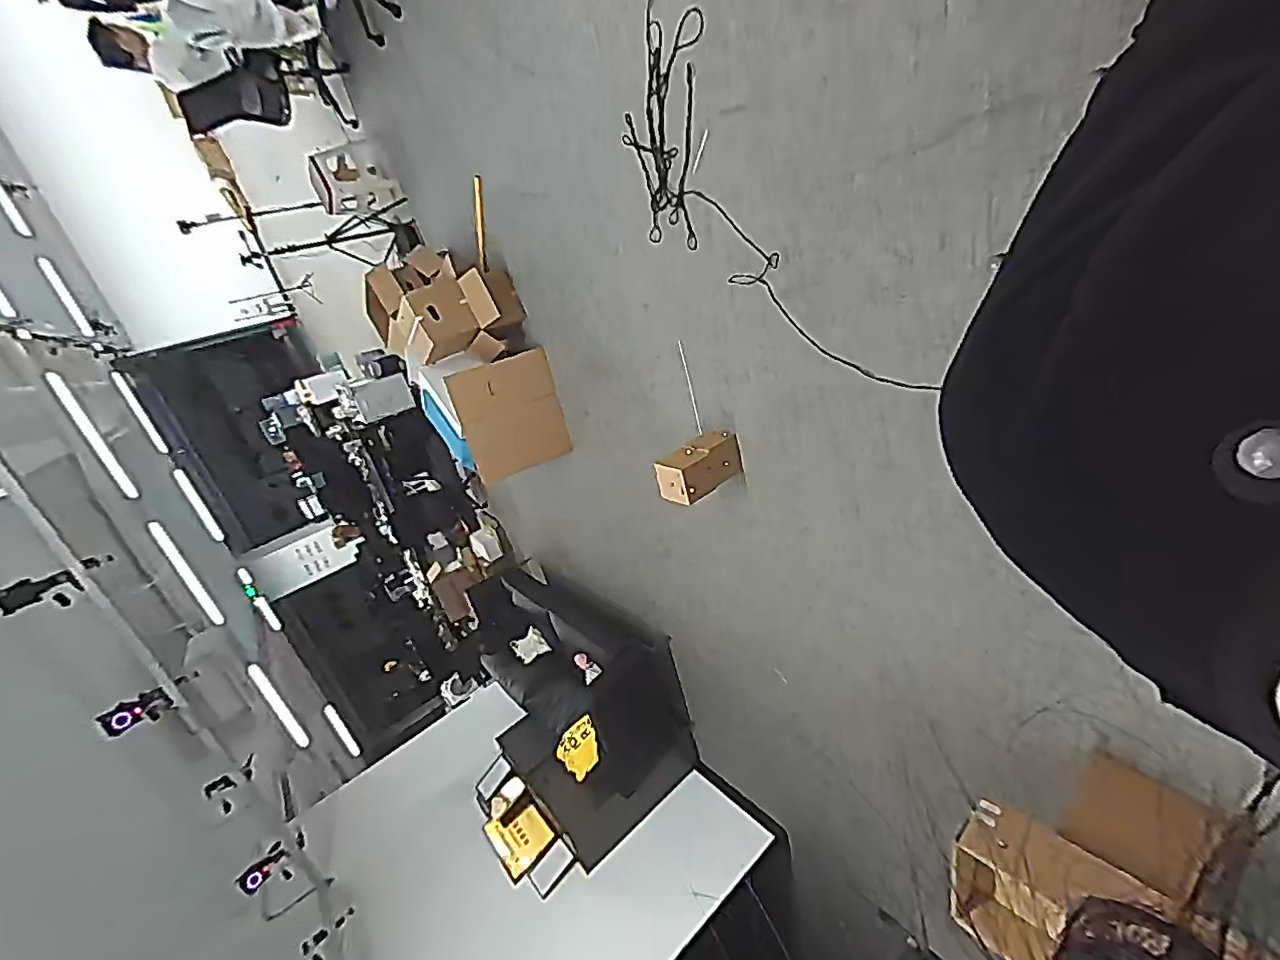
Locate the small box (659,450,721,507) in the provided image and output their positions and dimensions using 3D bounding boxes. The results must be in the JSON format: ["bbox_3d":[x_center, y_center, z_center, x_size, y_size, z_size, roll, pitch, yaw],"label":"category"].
[{"bbox_3d":[0.209,-0.013,2.242,0.179,0.176,0.168,18,130,52],"label":"small box"}]

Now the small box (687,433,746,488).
[{"bbox_3d":[0.331,-0.088,2.321,0.168,0.176,0.179,16,129,52],"label":"small box"}]
